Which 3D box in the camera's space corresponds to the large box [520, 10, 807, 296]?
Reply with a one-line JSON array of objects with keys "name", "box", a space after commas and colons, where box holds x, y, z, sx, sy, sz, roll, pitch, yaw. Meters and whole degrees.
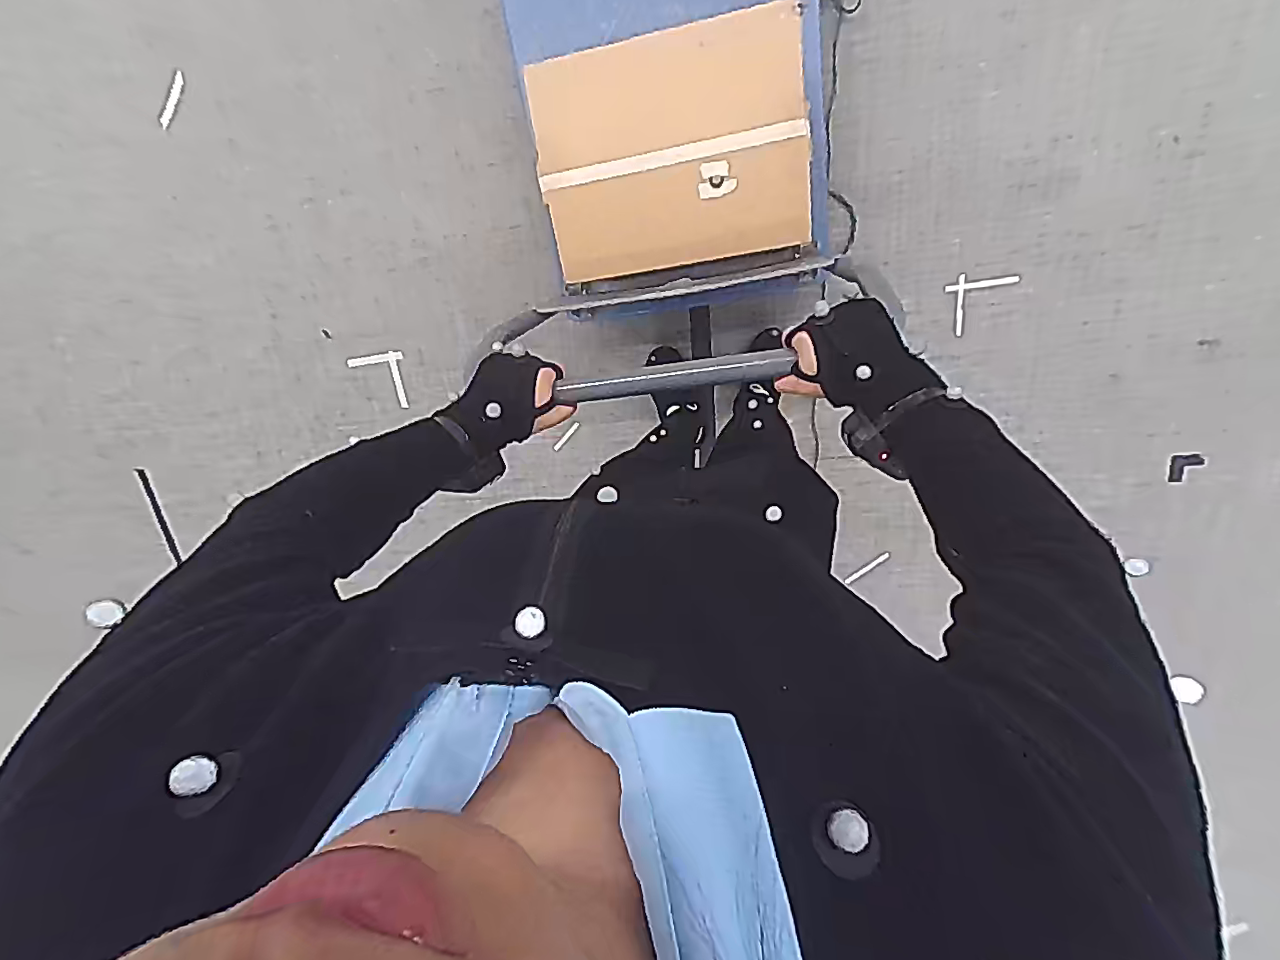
[{"name": "large box", "box": [0.056, -0.528, 0.957, 0.408, 0.320, 0.320, -6, 112, 10]}]
